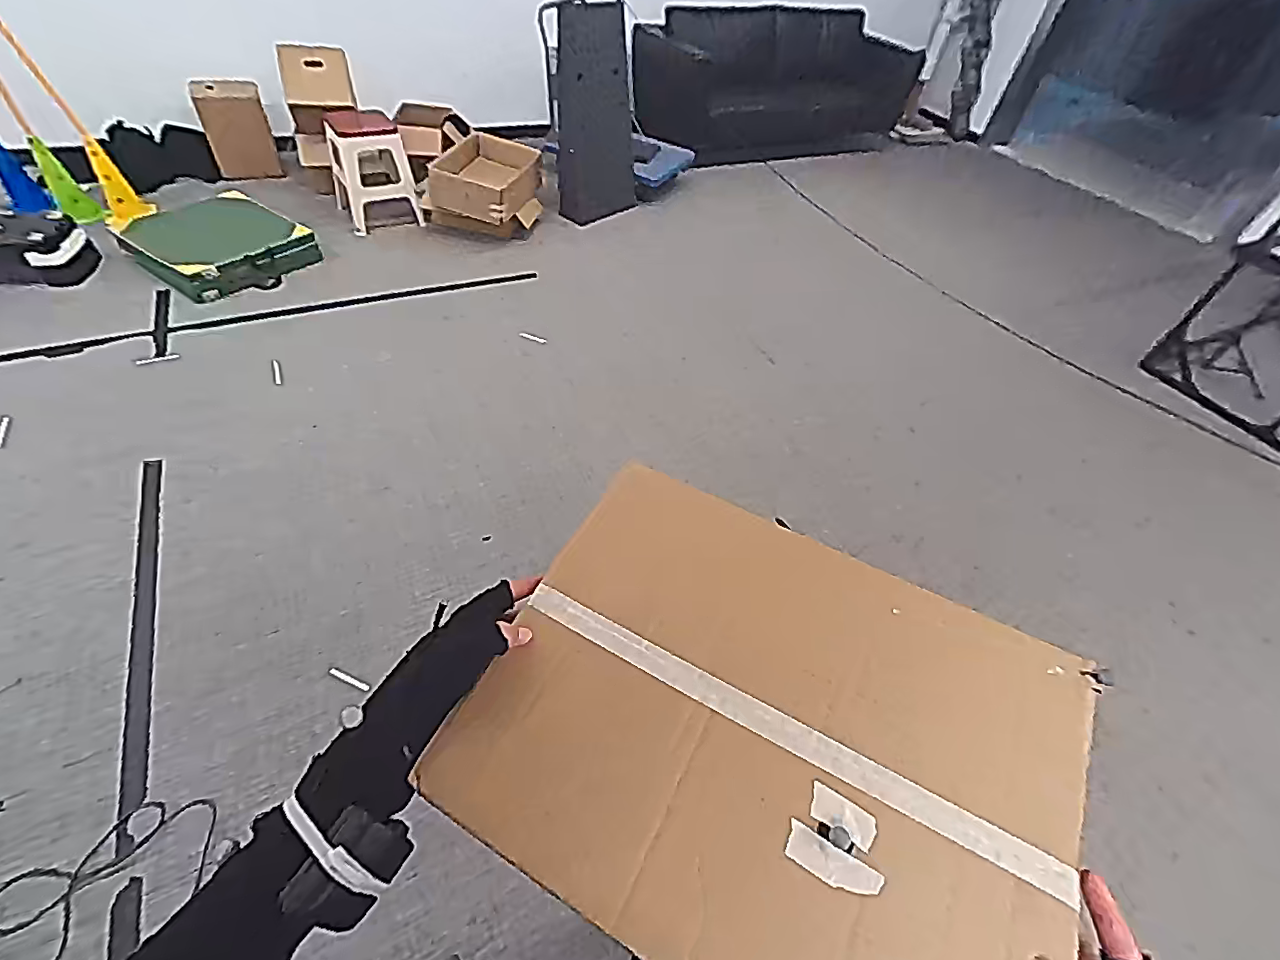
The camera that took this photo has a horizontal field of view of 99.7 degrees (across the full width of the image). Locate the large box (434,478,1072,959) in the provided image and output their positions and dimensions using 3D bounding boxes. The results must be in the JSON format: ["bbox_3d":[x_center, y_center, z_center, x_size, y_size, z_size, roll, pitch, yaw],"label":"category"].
[{"bbox_3d":[0.095,0.265,0.528,0.408,0.320,0.320,24,60,17],"label":"large box"}]
